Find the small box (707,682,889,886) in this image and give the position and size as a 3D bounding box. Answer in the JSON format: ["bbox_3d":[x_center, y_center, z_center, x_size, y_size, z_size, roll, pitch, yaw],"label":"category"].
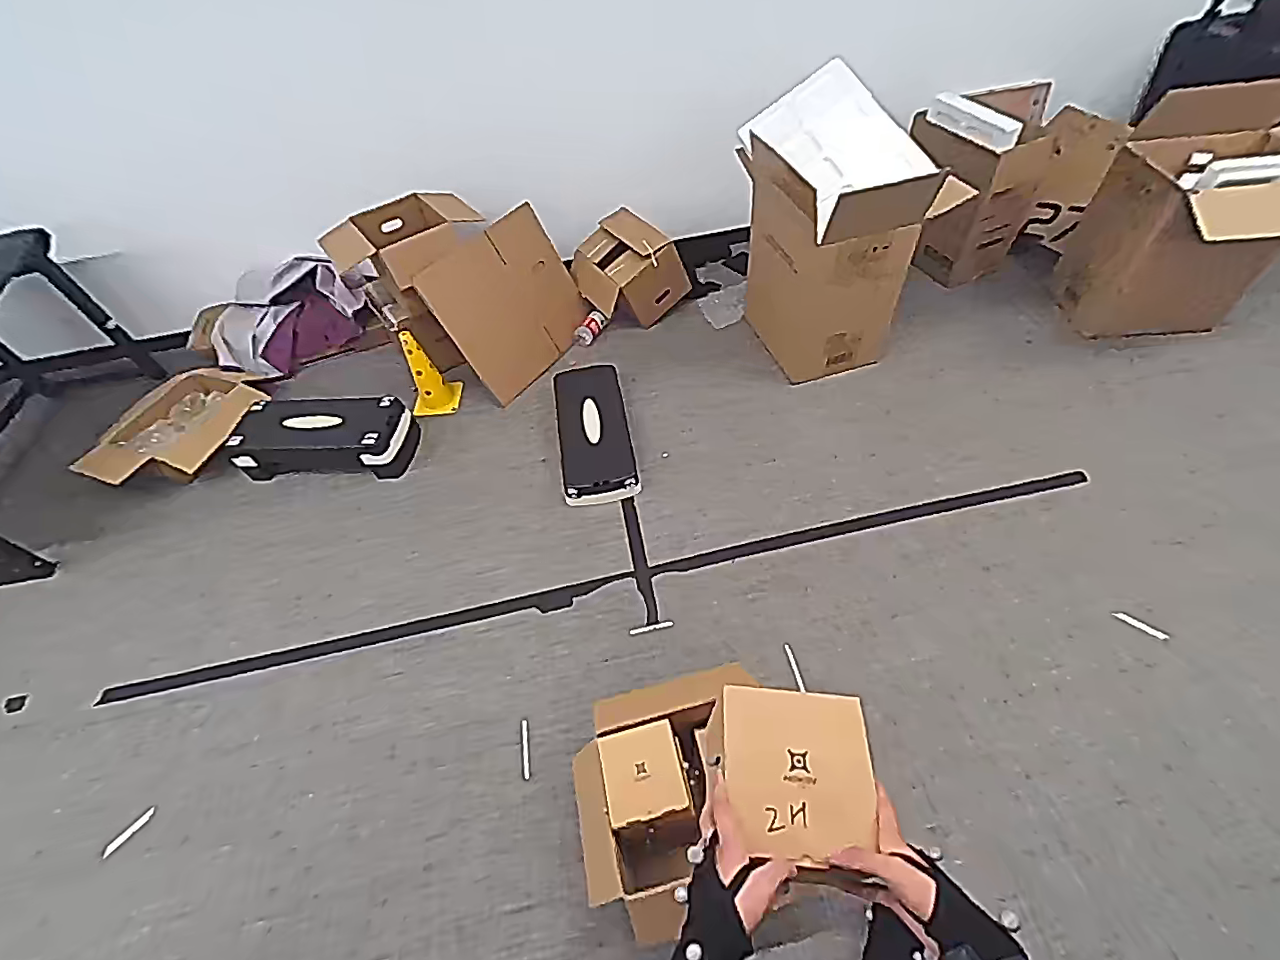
[{"bbox_3d":[0.171,0.366,0.650,0.168,0.176,0.179,4,50,2],"label":"small box"}]
